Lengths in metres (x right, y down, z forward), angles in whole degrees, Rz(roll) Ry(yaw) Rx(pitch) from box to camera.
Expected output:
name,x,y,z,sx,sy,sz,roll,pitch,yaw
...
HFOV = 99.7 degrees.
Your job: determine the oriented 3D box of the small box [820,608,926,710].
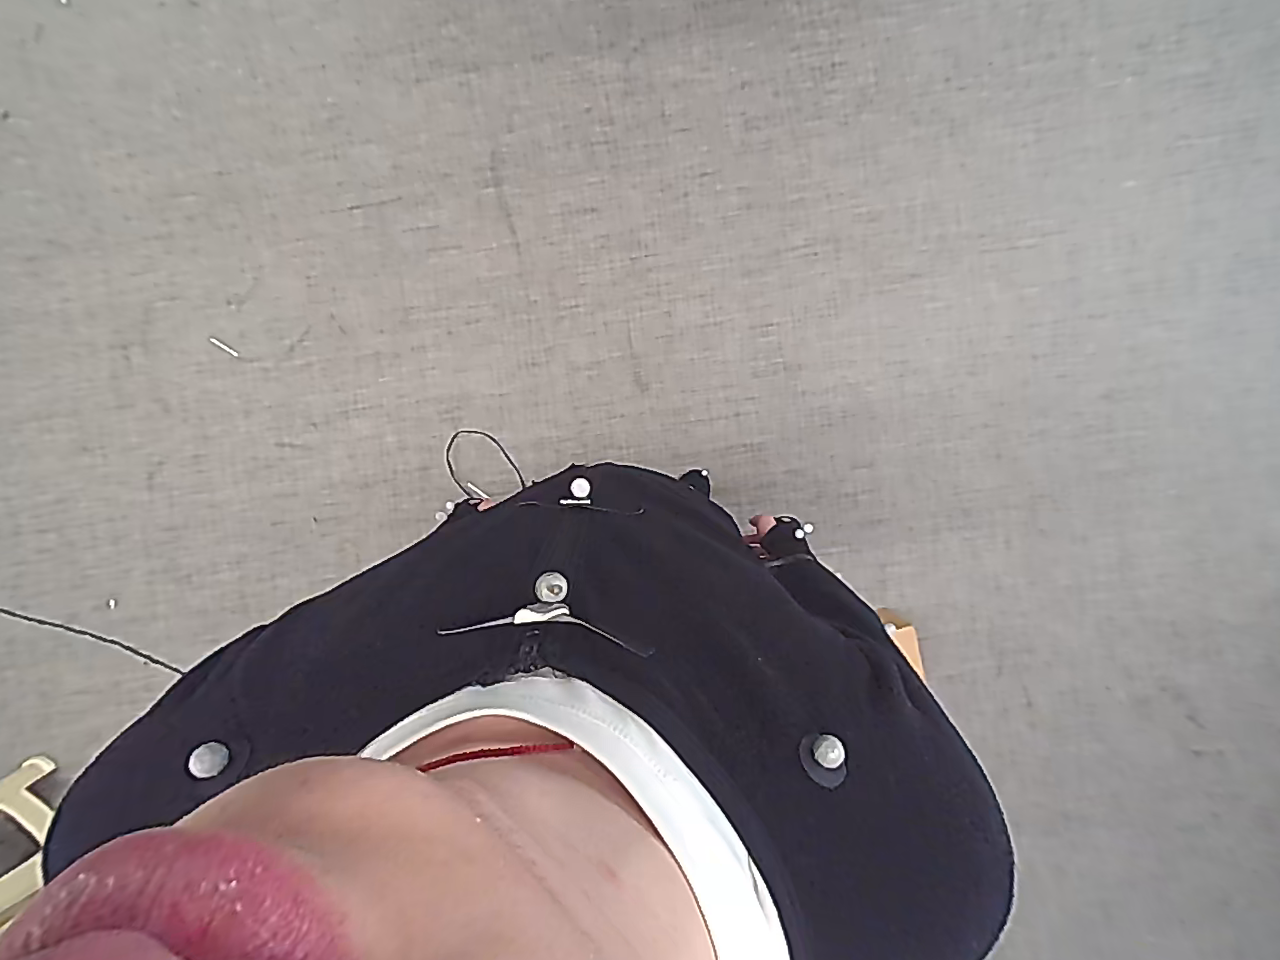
name,x,y,z,sx,sy,sz,roll,pitch,yaw
small box,0.632,0.483,1.489,0.179,0.176,0.168,-42,93,2
